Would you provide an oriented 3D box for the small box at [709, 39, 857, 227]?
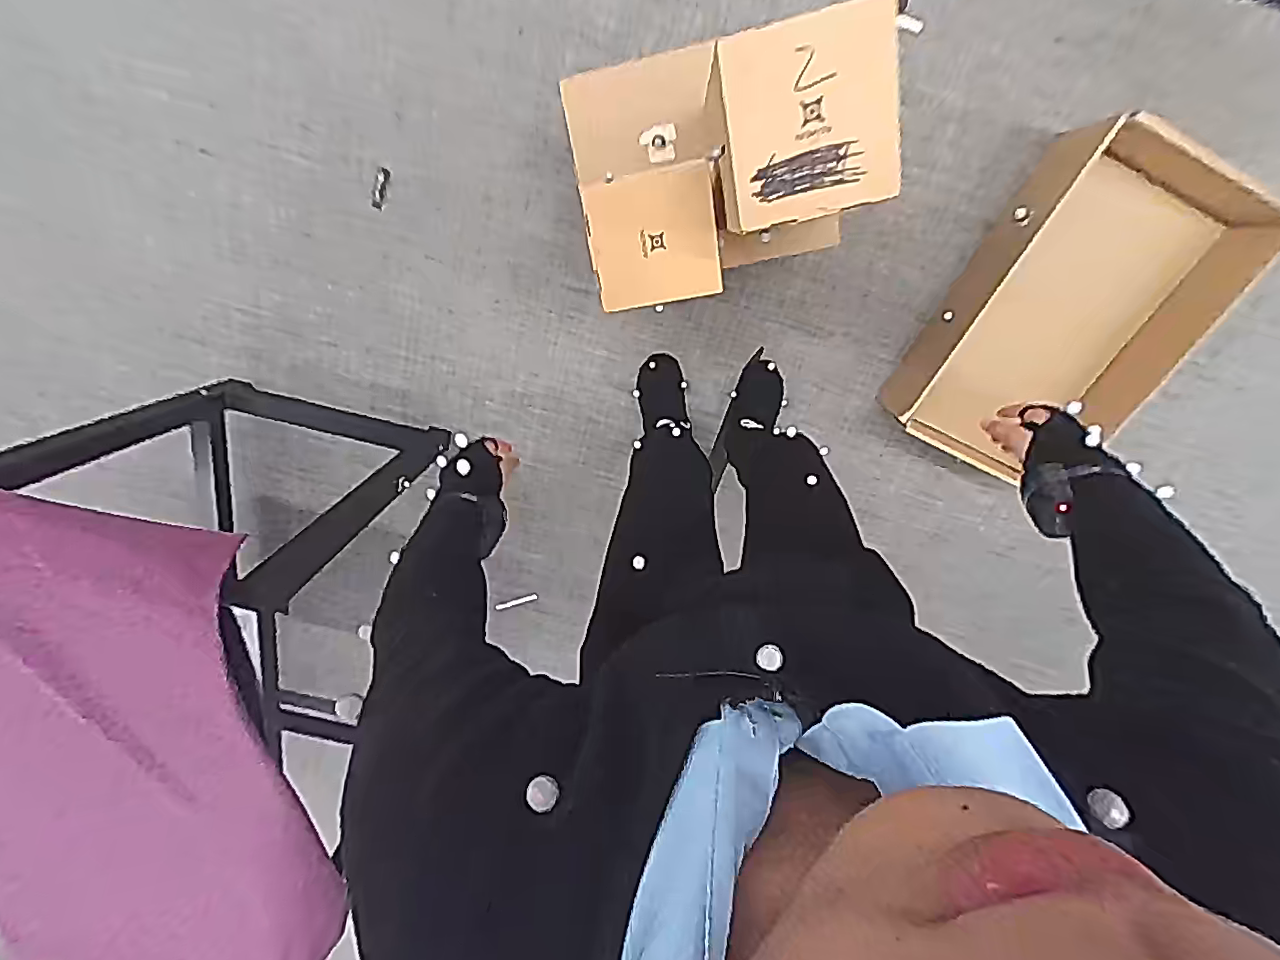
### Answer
[{"bbox_3d":[0.191,-0.463,0.753,0.168,0.176,0.179,-10,115,10],"label":"small box"}]

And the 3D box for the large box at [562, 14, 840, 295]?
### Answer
[{"bbox_3d":[0.115,-0.555,0.986,0.408,0.320,0.320,-9,113,9],"label":"large box"}]
